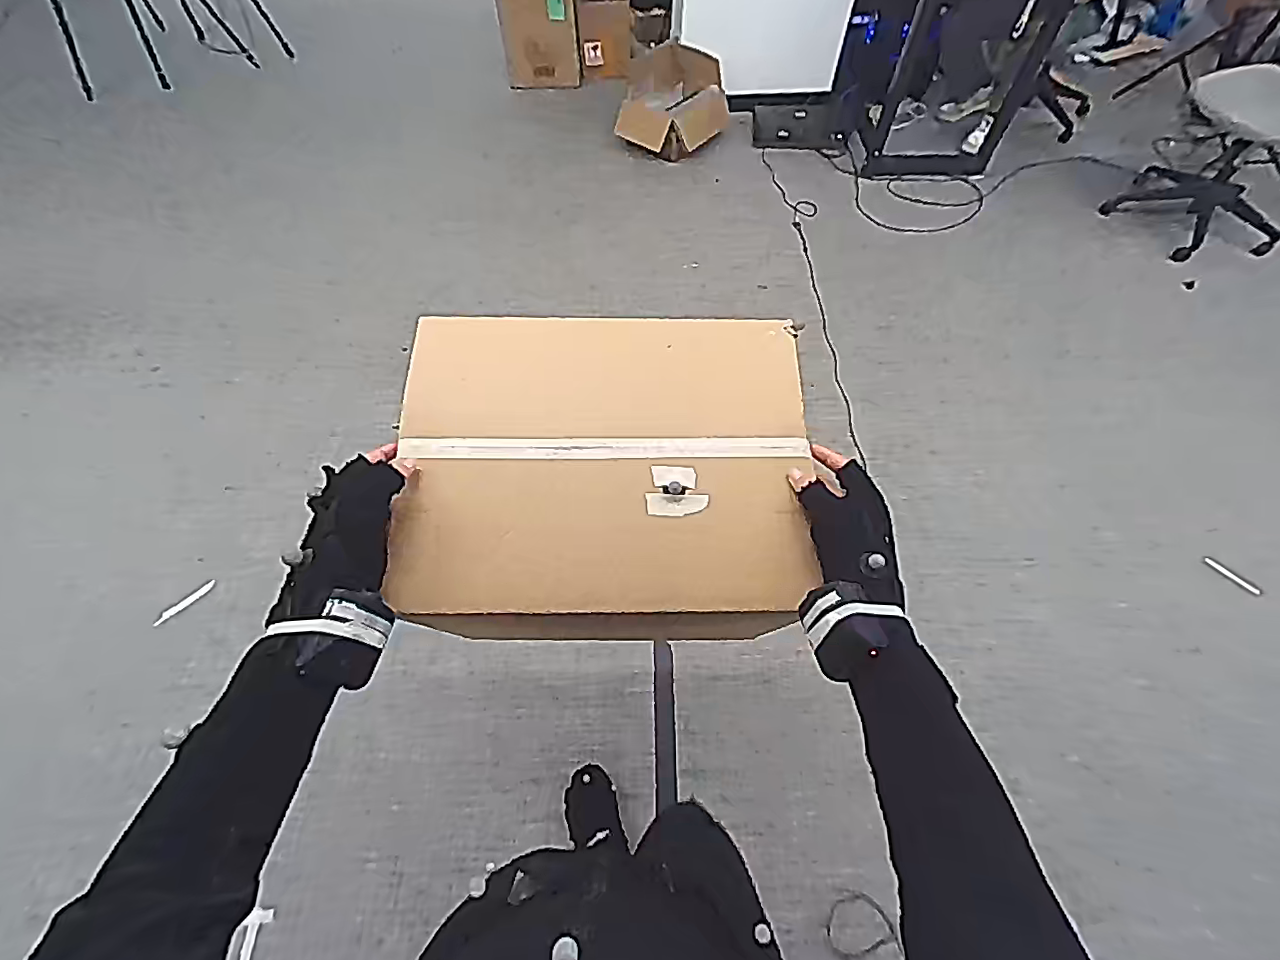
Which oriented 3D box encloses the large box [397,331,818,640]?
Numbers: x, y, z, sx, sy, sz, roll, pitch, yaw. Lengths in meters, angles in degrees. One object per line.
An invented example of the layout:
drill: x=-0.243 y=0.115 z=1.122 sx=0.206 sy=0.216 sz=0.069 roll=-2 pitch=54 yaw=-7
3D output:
large box: x=-0.037 y=0.029 z=0.695 sx=0.408 sy=0.320 sz=0.320 roll=0 pitch=70 yaw=-2
